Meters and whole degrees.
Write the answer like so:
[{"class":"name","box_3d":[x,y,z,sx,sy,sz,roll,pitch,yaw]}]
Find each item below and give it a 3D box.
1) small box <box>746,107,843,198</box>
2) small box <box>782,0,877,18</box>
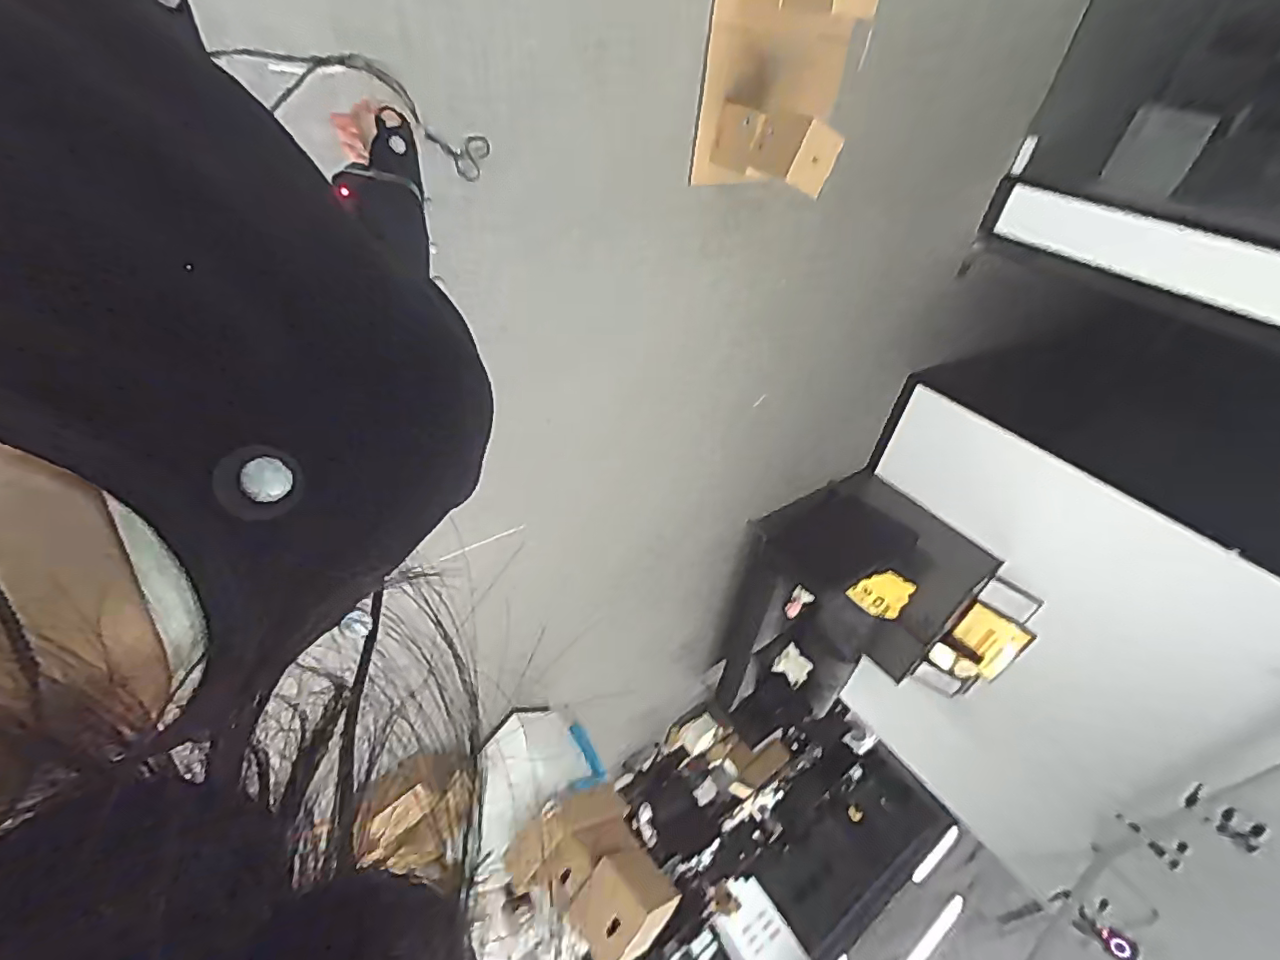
[{"class":"small box","box_3d":[0.450,-0.964,1.588,0.179,0.176,0.168,-4,129,-43]},{"class":"small box","box_3d":[0.480,-1.254,1.329,0.179,0.176,0.168,-24,140,-28]}]
